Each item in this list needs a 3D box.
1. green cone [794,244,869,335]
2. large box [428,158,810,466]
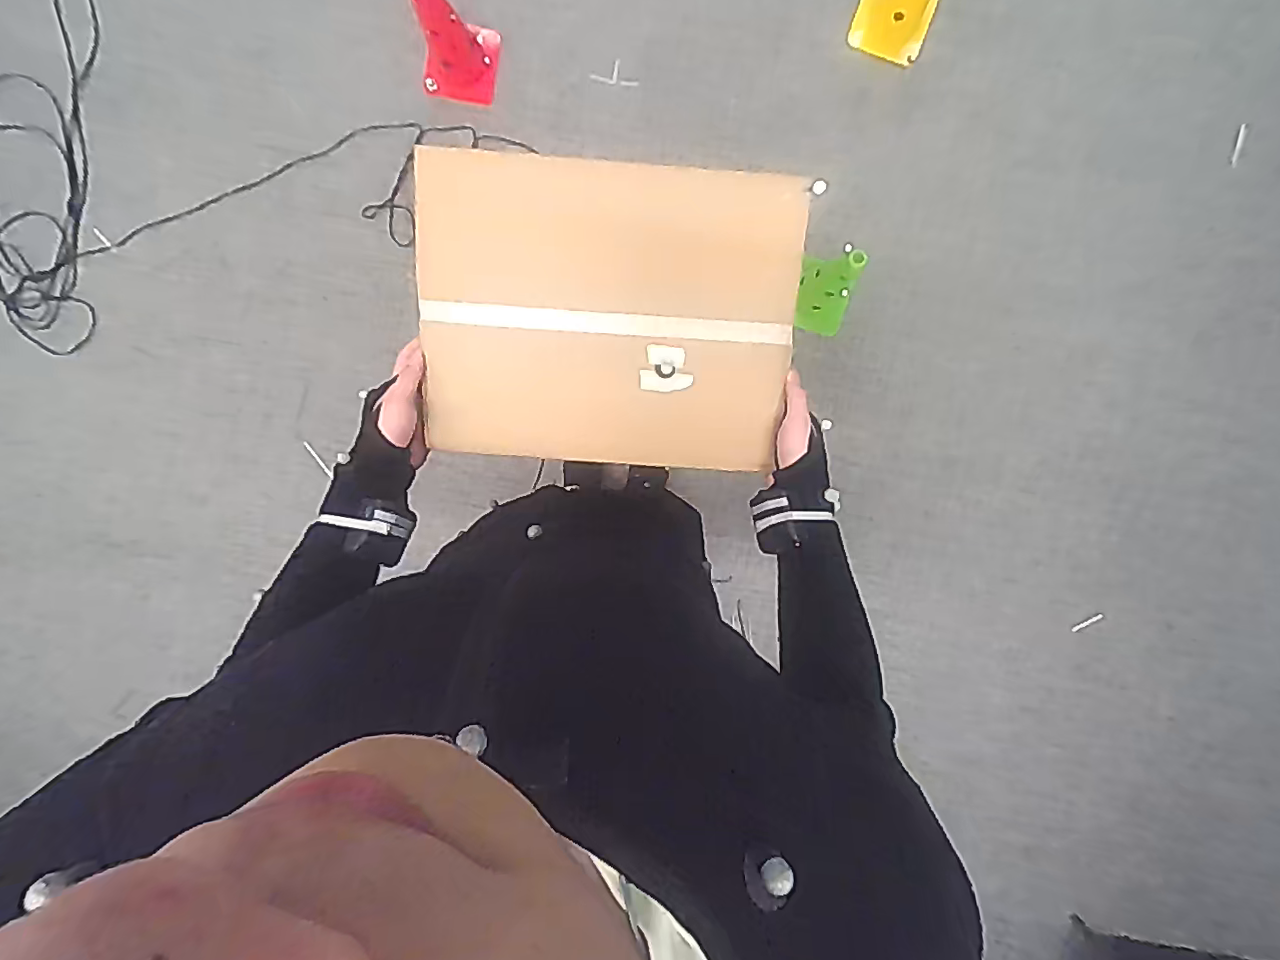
[{"bbox_3d":[0.500,-0.522,1.392,0.200,0.368,0.202,16,95,-1],"label":"green cone"},{"bbox_3d":[-0.032,-0.209,0.738,0.408,0.320,0.320,3,105,-2],"label":"large box"}]
